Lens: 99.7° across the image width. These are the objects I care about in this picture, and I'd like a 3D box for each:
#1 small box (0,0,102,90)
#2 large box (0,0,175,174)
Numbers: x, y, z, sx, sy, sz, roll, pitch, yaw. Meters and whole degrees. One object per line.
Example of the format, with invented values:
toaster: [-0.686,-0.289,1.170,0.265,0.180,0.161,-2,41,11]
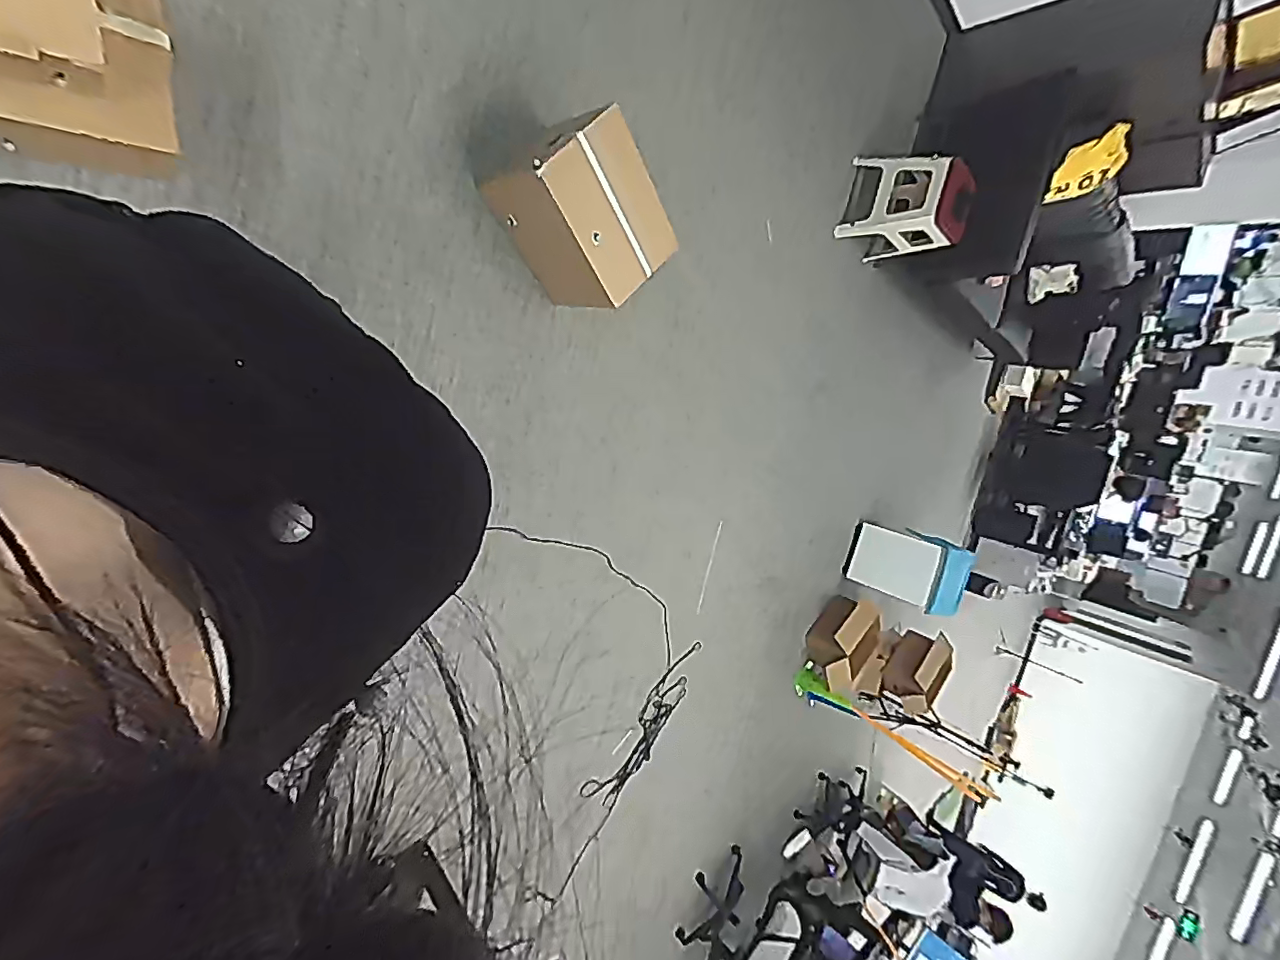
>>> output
small box: [-0.779,-0.611,0.653,0.168,0.176,0.179,-9,111,-42]
large box: [-0.974,-0.679,0.793,0.408,0.320,0.320,-9,110,-41]
